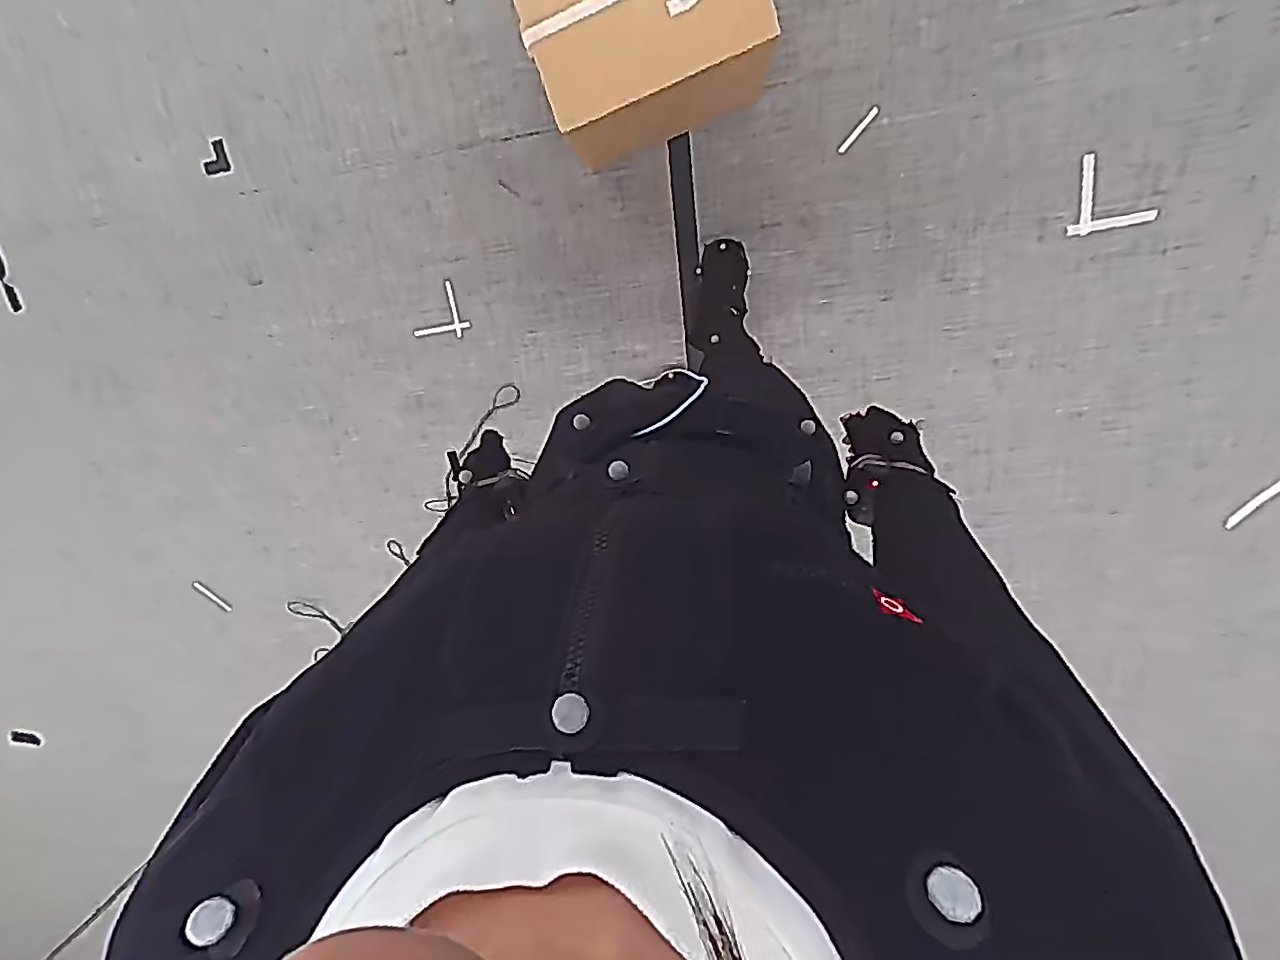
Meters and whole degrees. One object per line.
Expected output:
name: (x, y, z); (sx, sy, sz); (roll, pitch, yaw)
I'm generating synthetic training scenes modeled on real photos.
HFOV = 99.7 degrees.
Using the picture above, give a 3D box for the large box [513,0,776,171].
large box: (0.004, -0.863, 1.036); (0.408, 0.320, 0.320); (-18, 106, 10)
